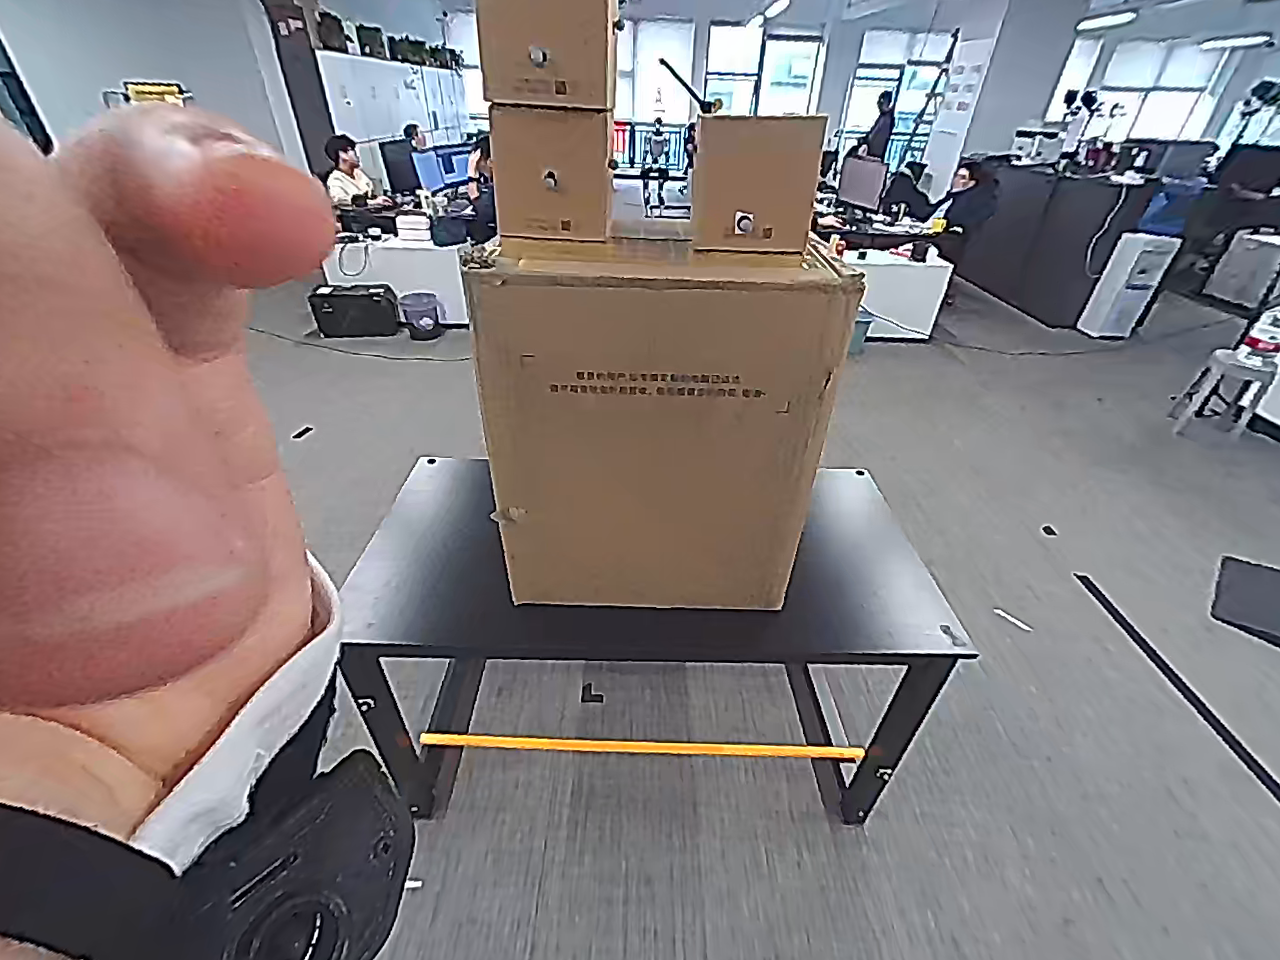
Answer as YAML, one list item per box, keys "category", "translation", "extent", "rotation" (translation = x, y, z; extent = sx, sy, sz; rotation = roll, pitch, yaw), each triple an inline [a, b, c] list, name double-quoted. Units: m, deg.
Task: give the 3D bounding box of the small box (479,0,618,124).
- category: "small box"
  translation: [-0.120, -0.600, 0.745]
  extent: [0.168, 0.176, 0.179]
  rotation: [3, 35, -1]

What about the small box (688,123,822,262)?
- category: "small box"
  translation: [0.161, -0.440, 0.824]
  extent: [0.168, 0.176, 0.179]
  rotation: [1, 34, 2]

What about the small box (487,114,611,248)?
- category: "small box"
  translation: [-0.131, -0.473, 0.852]
  extent: [0.168, 0.176, 0.179]
  rotation: [3, 35, -2]
